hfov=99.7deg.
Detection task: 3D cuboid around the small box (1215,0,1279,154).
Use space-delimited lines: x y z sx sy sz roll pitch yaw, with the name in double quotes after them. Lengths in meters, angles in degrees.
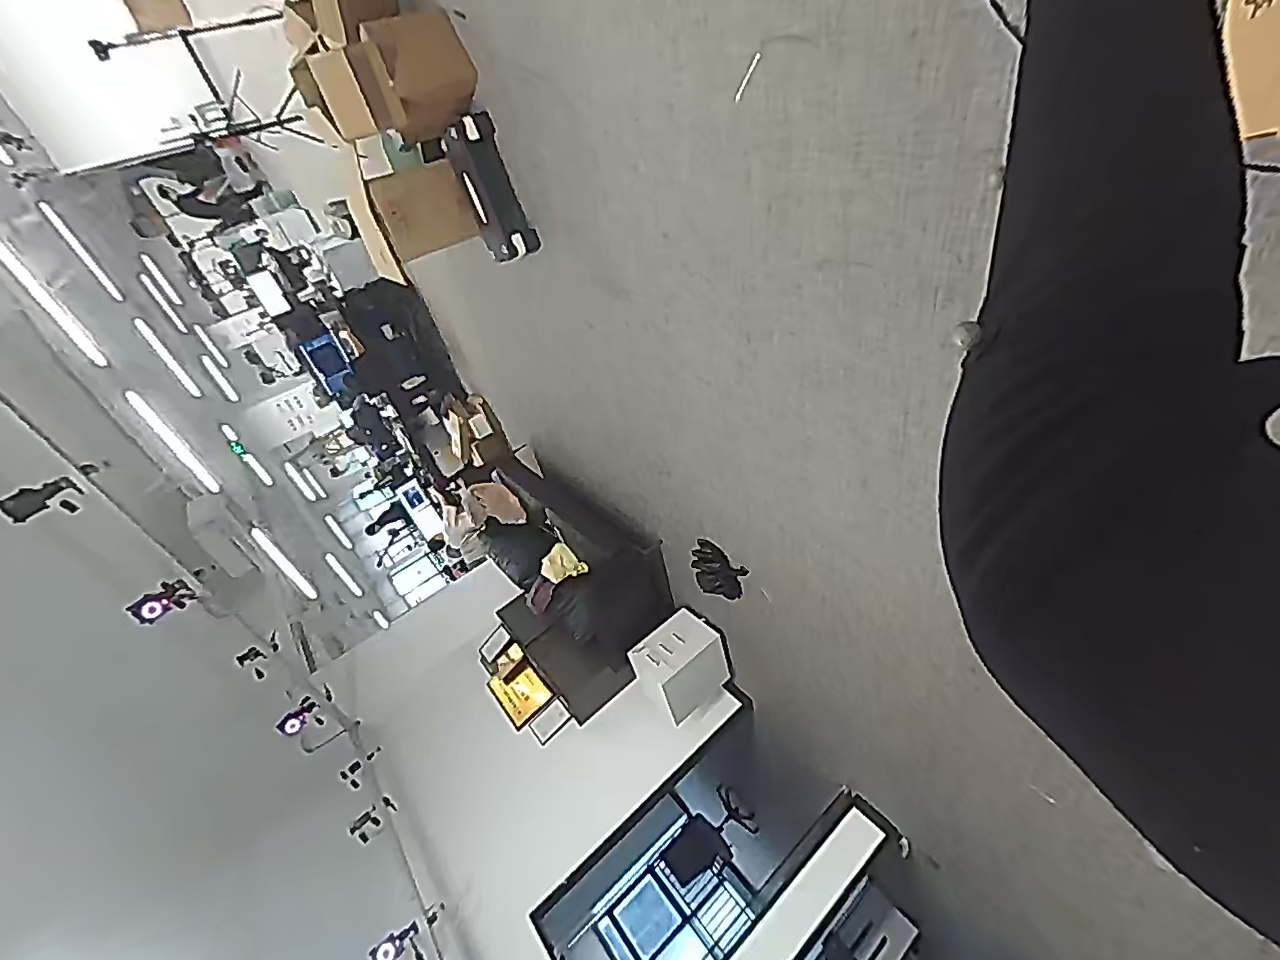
0.843 -0.533 0.650 0.168 0.176 0.179 20 137 58 "small box"
